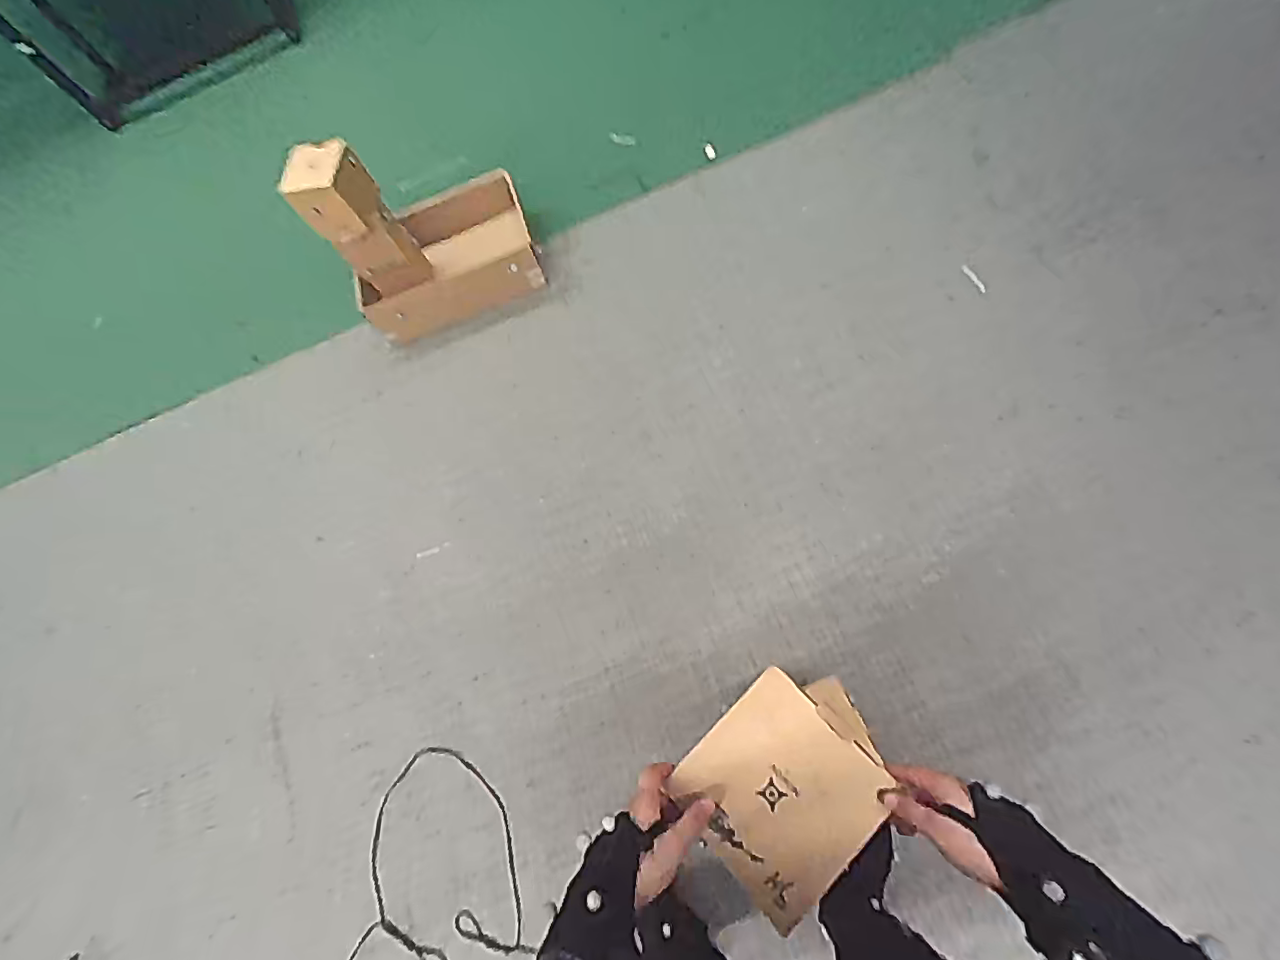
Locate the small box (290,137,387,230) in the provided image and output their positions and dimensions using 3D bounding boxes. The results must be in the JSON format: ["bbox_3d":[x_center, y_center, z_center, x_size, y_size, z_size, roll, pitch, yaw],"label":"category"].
[{"bbox_3d":[-0.877,-0.862,1.591,0.168,0.176,0.179,-1,66,11],"label":"small box"}]

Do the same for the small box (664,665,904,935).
[{"bbox_3d":[0.151,0.337,0.603,0.179,0.176,0.168,-42,63,-10],"label":"small box"}]

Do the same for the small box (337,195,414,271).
[{"bbox_3d":[-0.850,-0.804,1.741,0.168,0.176,0.179,-21,64,2],"label":"small box"}]

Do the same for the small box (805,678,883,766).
[{"bbox_3d":[0.315,0.482,0.999,0.179,0.176,0.168,-25,63,2],"label":"small box"}]

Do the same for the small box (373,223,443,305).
[{"bbox_3d":[-0.817,-0.753,1.894,0.168,0.176,0.179,-23,65,2],"label":"small box"}]
